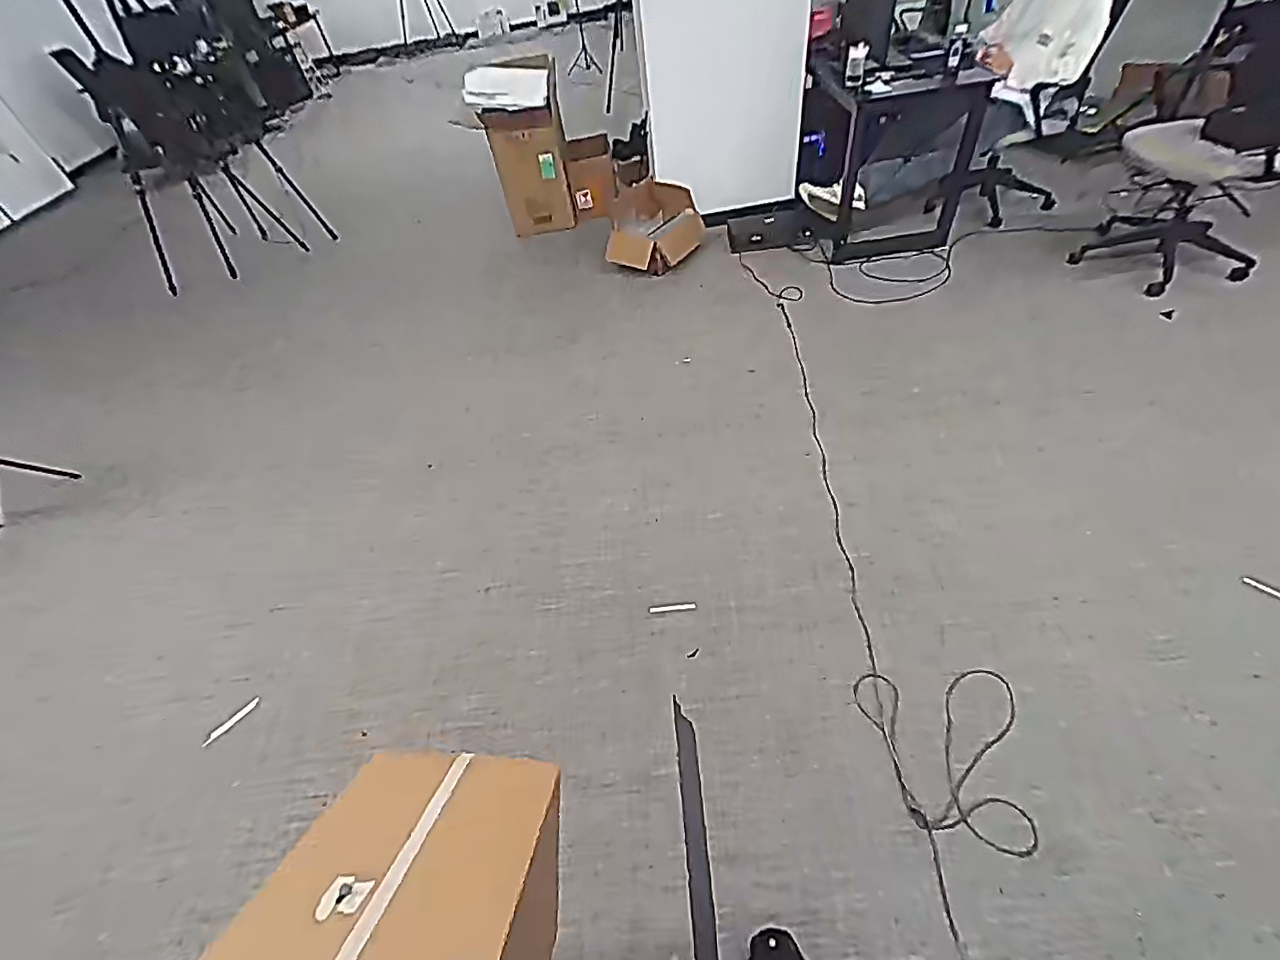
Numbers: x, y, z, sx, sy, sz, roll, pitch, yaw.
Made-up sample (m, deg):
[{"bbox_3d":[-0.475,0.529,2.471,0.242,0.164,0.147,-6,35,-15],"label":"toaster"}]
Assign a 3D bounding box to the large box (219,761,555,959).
[{"bbox_3d":[-0.306,0.659,0.734,0.320,0.320,0.408,1,8,4],"label":"large box"}]
